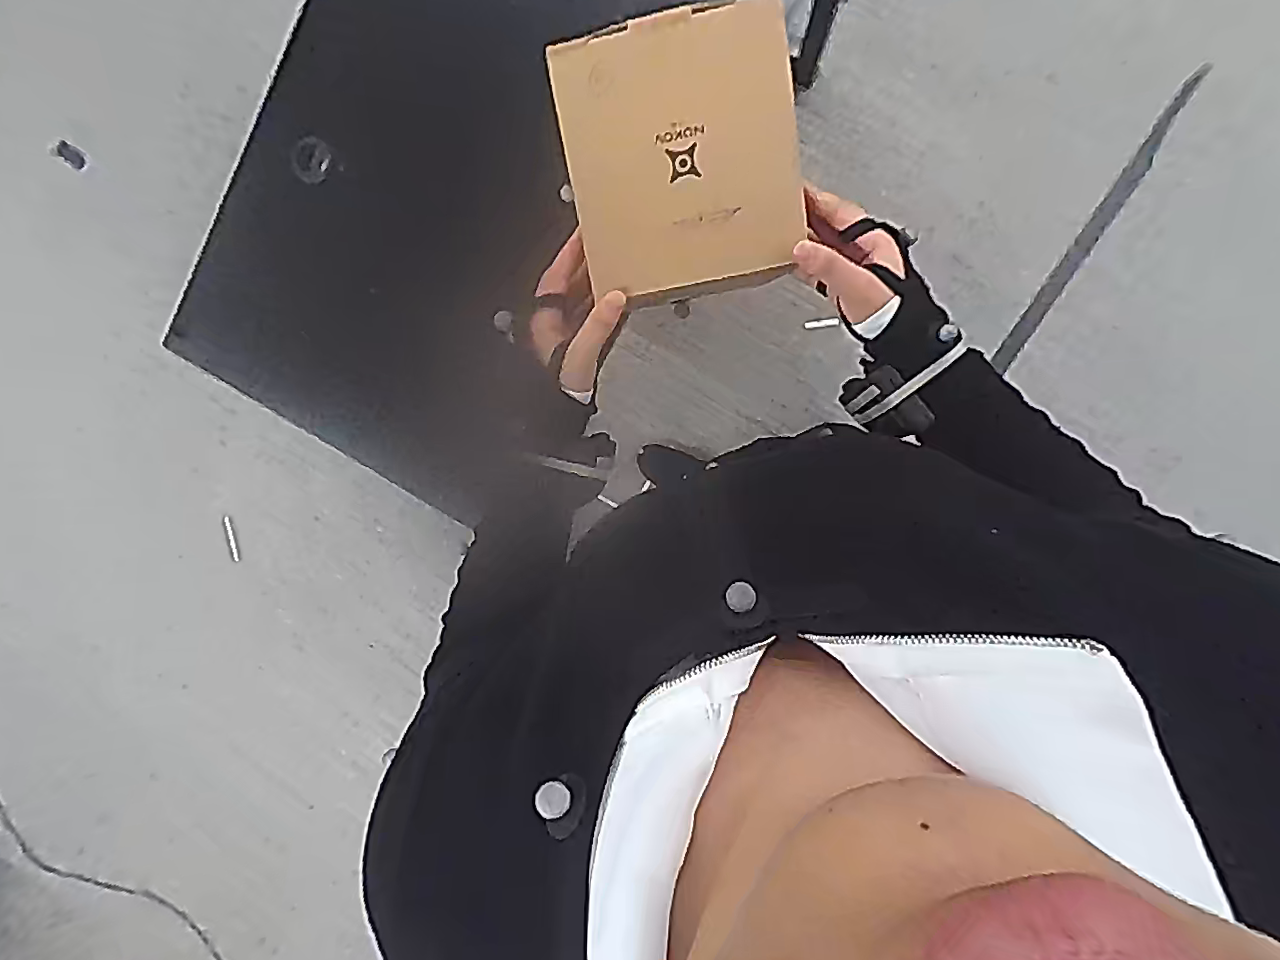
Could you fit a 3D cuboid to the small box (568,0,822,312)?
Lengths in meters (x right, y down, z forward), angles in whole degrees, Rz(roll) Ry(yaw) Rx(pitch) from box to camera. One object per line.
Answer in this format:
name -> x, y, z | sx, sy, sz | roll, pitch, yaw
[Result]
small box -> 0.045, -0.249, 0.463 | 0.168, 0.176, 0.179 | -9, 105, 5
